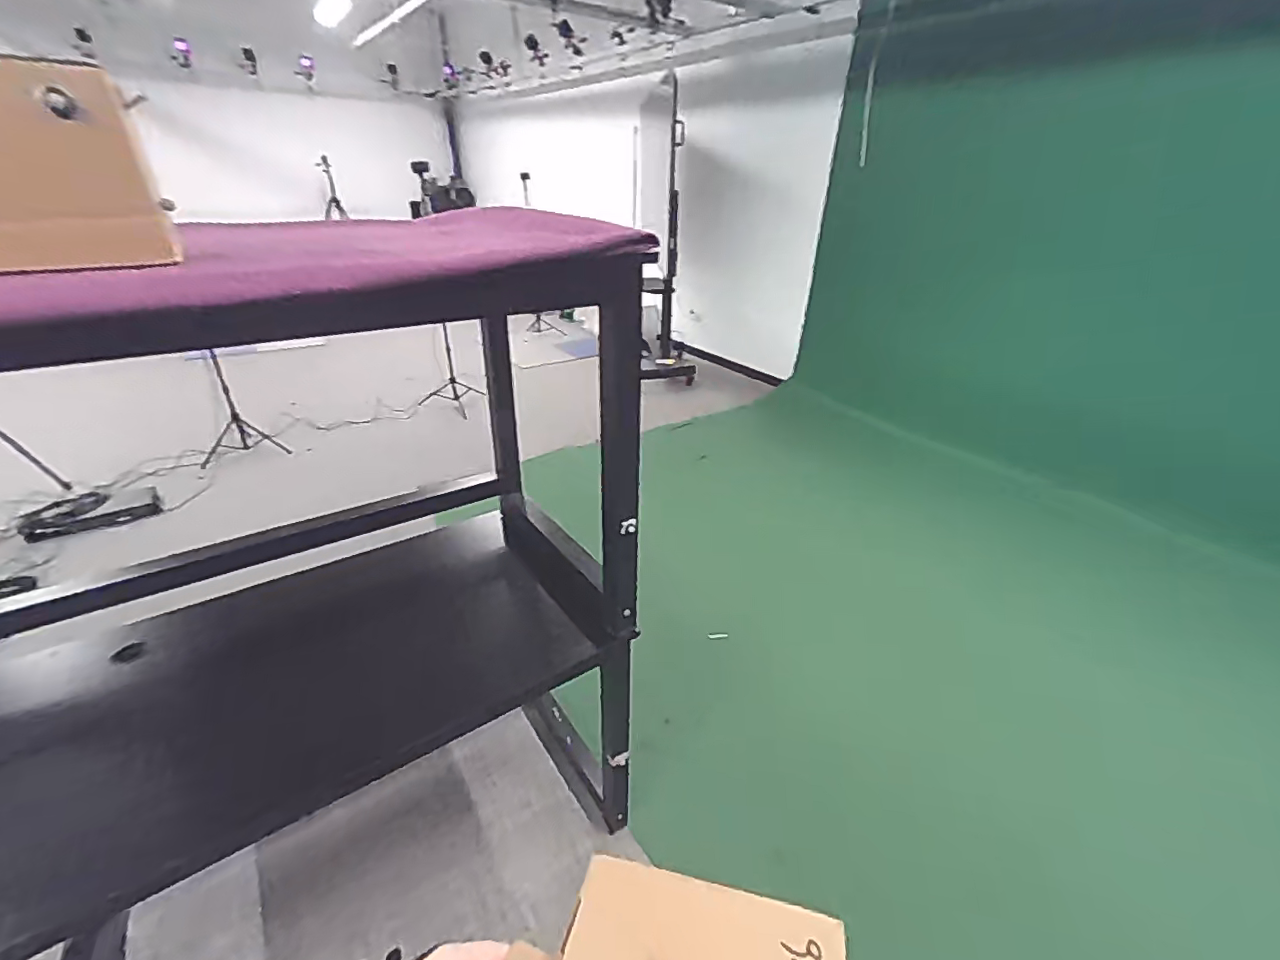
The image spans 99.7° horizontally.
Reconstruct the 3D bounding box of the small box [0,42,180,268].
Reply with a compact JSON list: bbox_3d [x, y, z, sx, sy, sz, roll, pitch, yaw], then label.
[{"bbox_3d":[-0.585,-0.300,0.518,0.179,0.176,0.168,-18,33,-31],"label":"small box"}]
